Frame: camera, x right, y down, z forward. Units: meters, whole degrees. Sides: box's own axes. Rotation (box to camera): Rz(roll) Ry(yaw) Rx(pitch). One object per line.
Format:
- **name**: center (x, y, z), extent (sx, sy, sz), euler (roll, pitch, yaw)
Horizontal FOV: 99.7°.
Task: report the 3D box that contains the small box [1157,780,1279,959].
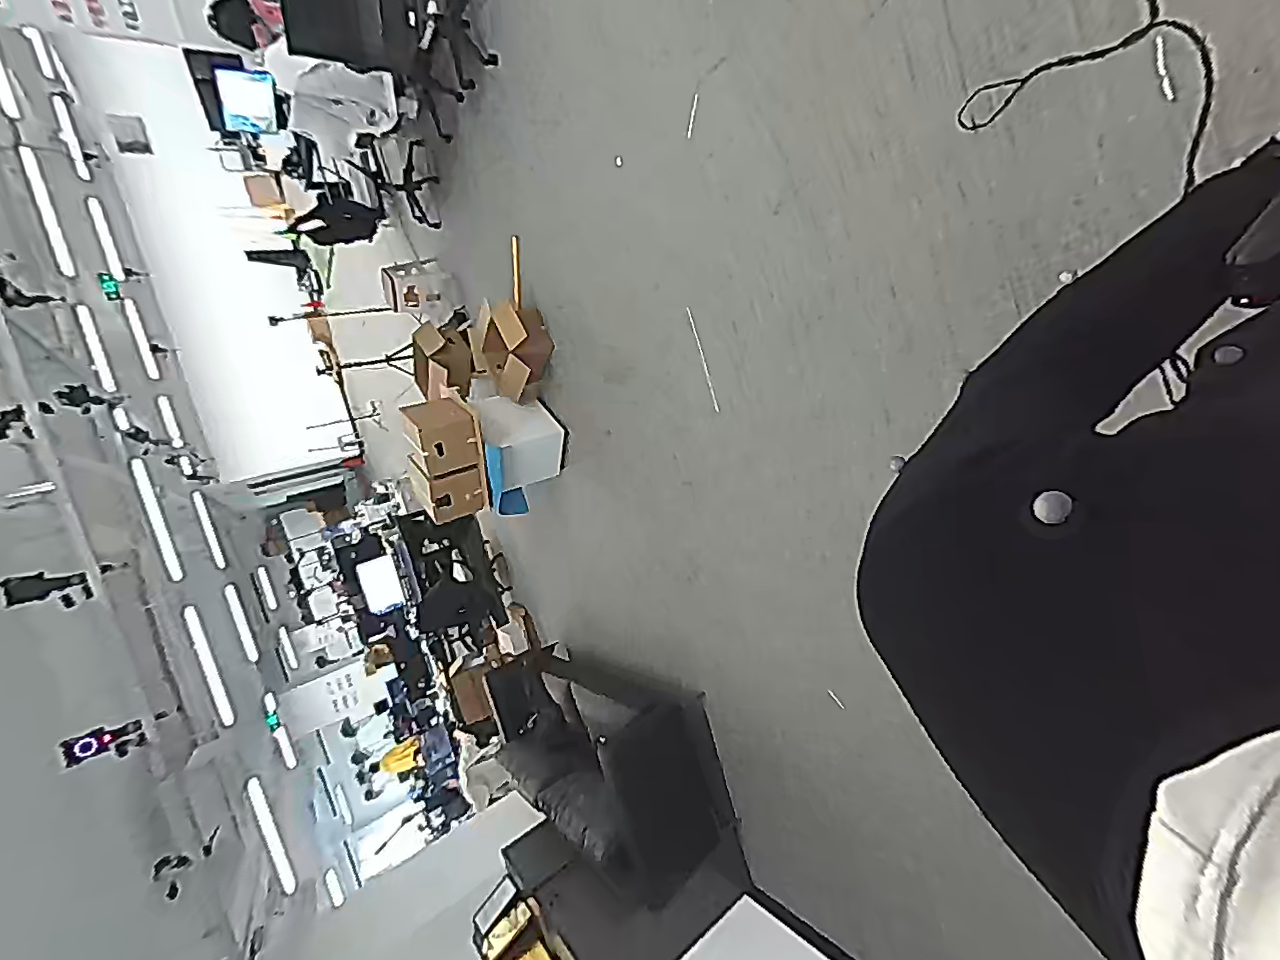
- **small box**: center (1.024, 0.667, 0.926), extent (0.168, 0.176, 0.179), euler (9, 112, 53)
